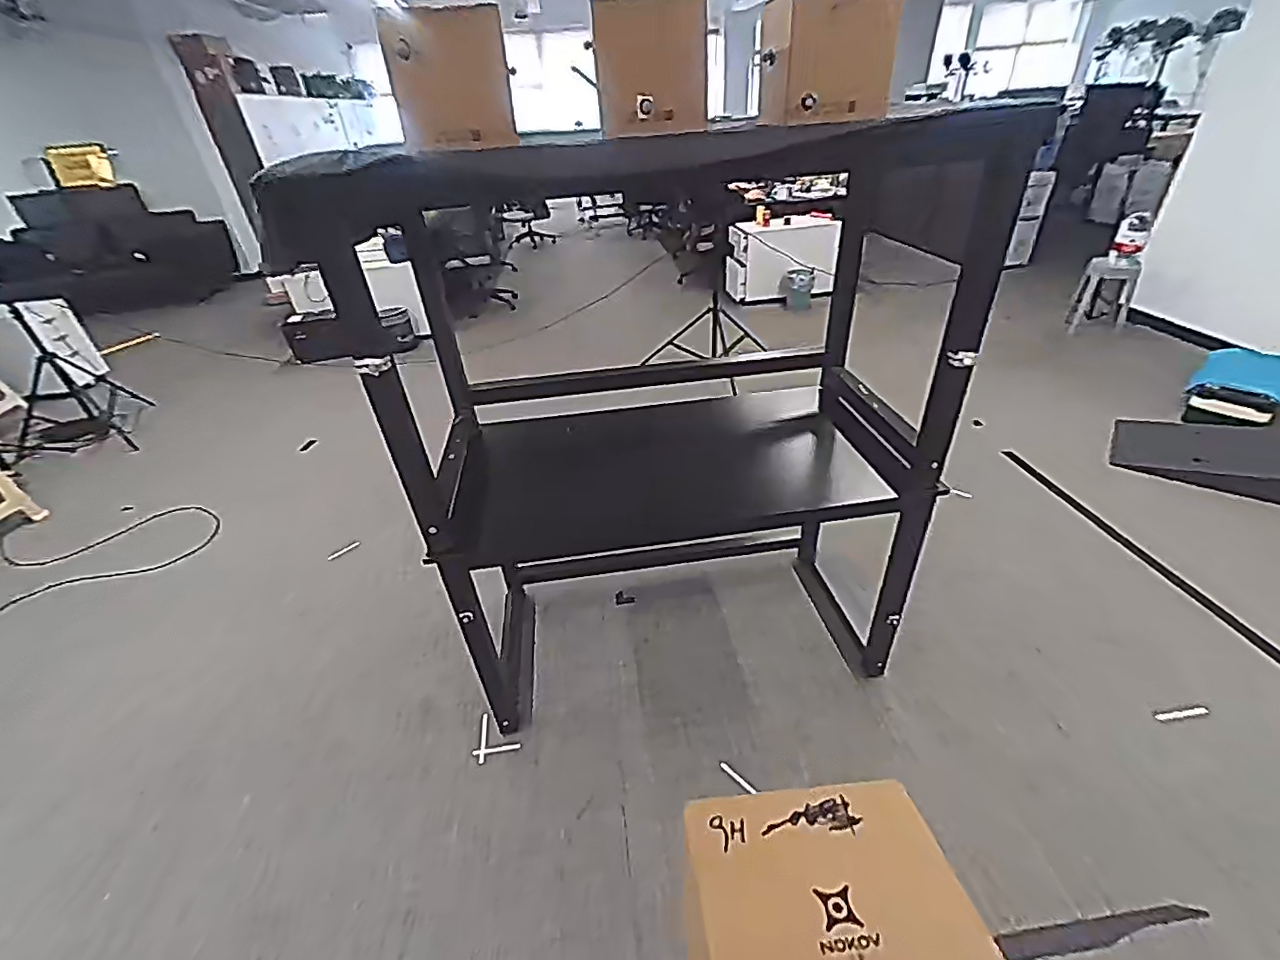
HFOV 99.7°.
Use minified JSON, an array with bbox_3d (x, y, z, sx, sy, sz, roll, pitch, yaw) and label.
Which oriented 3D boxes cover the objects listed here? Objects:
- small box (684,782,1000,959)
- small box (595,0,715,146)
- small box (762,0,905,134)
[{"bbox_3d":[0.123,0.338,0.353,0.168,0.176,0.179,-3,26,-4],"label":"small box"},{"bbox_3d":[0.020,-0.625,0.844,0.168,0.176,0.179,-6,33,-1],"label":"small box"},{"bbox_3d":[0.299,-0.664,0.868,0.168,0.176,0.179,-6,33,-2],"label":"small box"}]
